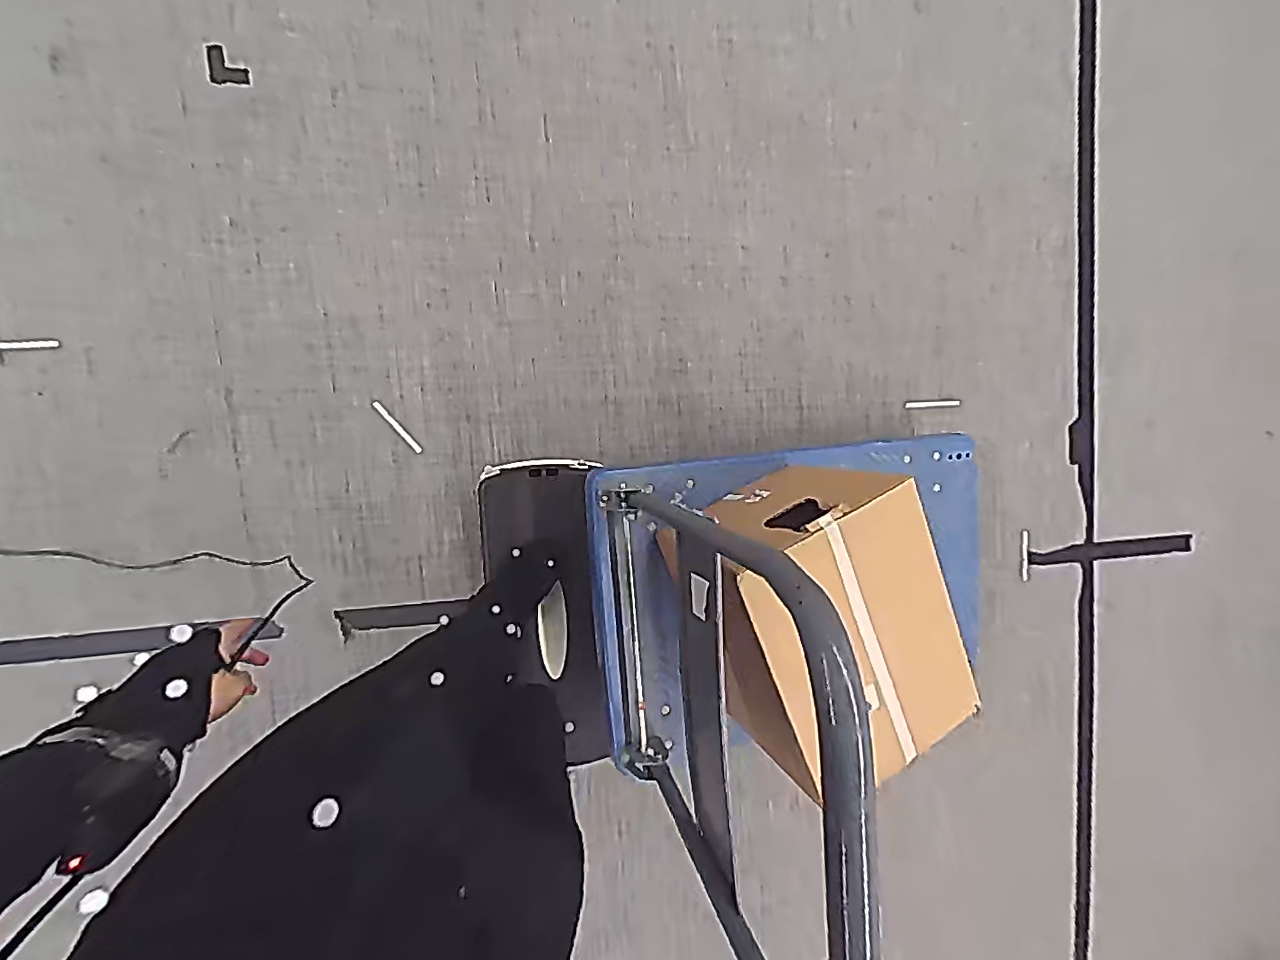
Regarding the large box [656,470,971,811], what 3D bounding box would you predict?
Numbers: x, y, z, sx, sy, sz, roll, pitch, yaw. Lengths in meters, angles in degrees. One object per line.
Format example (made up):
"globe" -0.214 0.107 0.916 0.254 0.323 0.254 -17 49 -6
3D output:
"large box" 0.277 0.231 0.924 0.320 0.320 0.408 -25 102 -15
